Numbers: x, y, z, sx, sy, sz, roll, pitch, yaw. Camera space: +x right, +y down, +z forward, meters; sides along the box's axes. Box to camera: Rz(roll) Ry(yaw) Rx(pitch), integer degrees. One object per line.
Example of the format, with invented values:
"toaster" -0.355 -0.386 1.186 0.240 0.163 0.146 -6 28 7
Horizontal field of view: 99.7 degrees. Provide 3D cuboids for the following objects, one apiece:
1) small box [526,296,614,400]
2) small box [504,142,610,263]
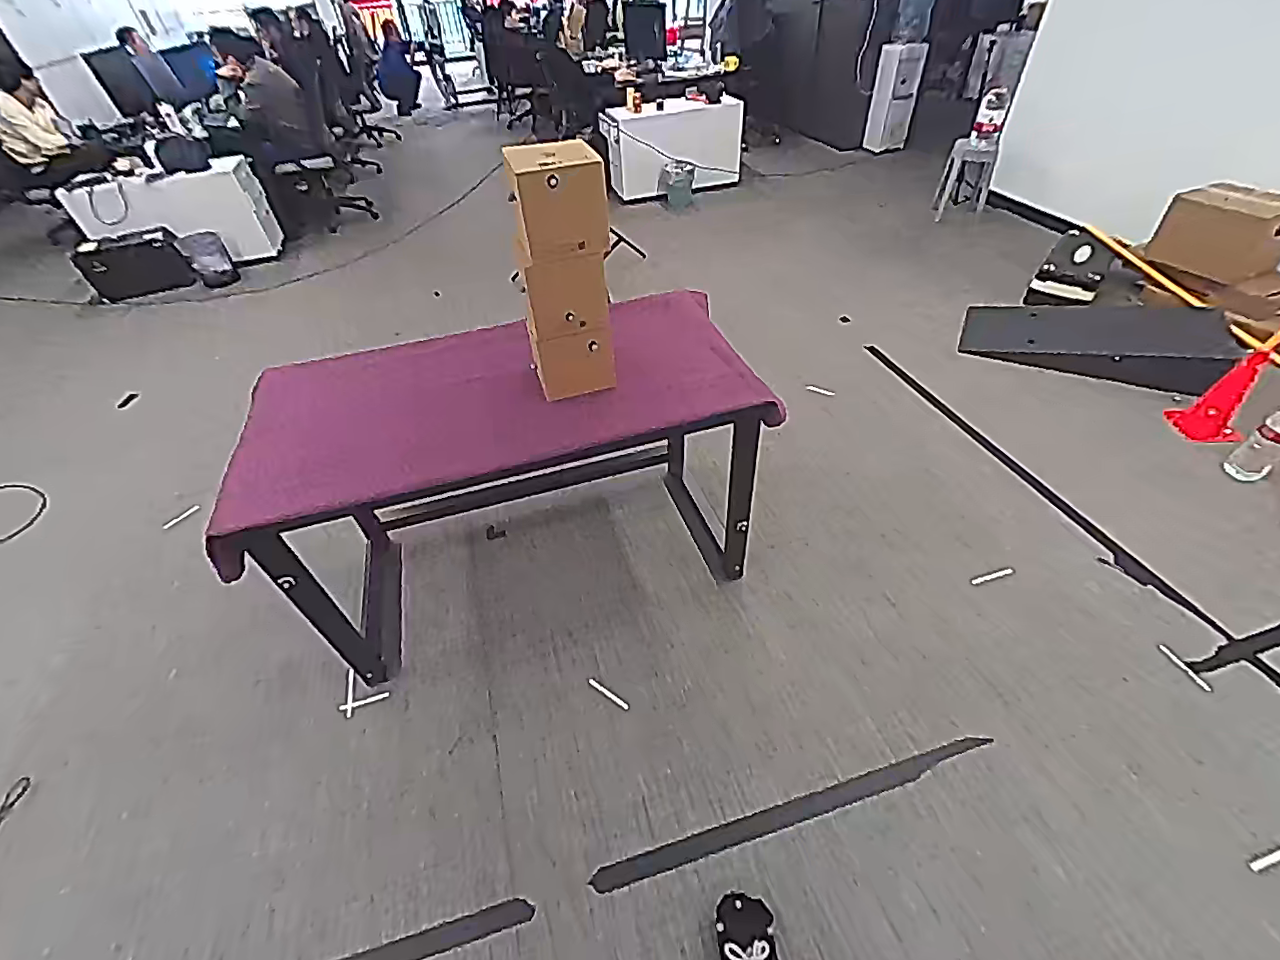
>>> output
"small box" -0.166 -0.319 1.312 0.179 0.176 0.168 -16 45 -10
"small box" -0.166 -0.558 1.086 0.168 0.176 0.179 -15 45 -11
